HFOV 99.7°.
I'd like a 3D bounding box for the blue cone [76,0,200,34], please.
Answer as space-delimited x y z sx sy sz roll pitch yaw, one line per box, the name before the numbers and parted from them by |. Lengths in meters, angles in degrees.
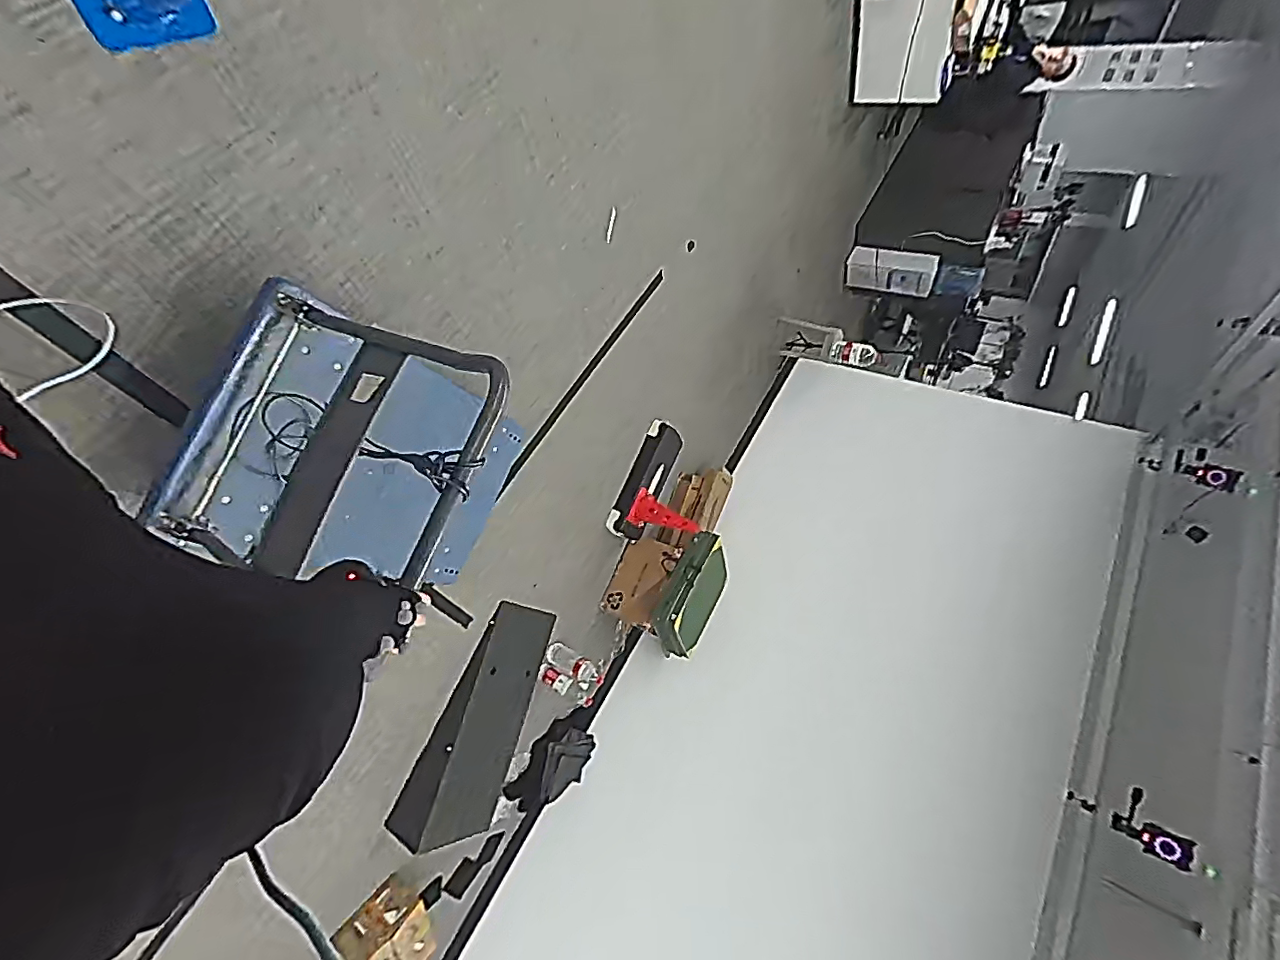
blue cone | -0.712 -0.800 0.798 0.193 0.380 0.192 -48 145 -35
